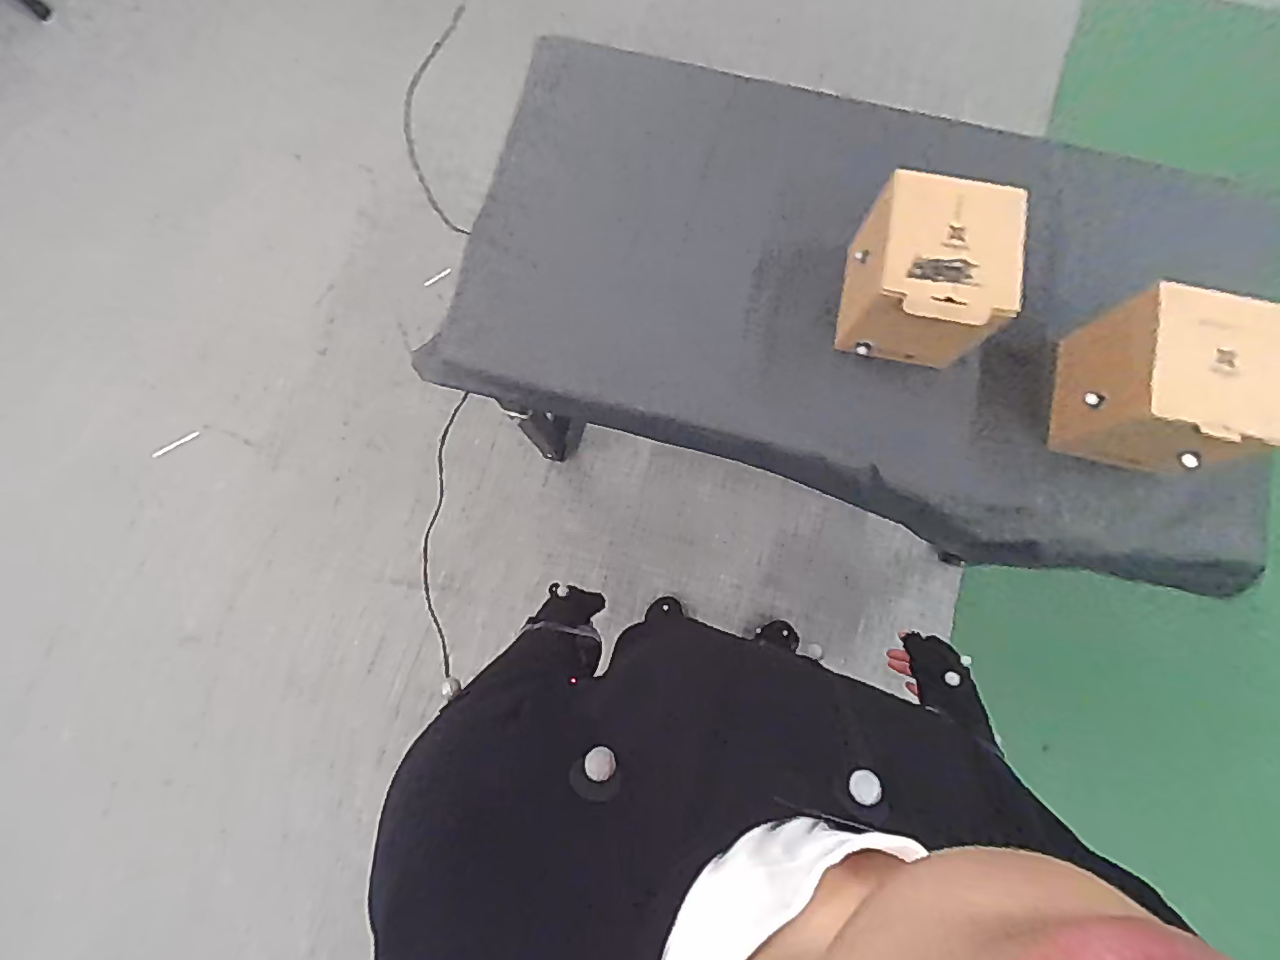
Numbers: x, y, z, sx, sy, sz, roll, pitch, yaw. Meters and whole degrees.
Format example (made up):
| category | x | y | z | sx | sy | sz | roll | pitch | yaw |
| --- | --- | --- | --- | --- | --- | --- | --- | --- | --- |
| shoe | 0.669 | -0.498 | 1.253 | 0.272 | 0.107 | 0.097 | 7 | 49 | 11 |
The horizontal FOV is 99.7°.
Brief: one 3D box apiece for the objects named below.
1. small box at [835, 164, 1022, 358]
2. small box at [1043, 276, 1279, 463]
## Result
| category | x | y | z | sx | sy | sz | roll | pitch | yaw |
| --- | --- | --- | --- | --- | --- | --- | --- | --- | --- |
| small box | 0.382 | -0.288 | 0.745 | 0.168 | 0.176 | 0.179 | 11 | 80 | 3 |
| small box | 0.676 | -0.132 | 0.714 | 0.168 | 0.176 | 0.179 | 13 | 79 | 2 |
